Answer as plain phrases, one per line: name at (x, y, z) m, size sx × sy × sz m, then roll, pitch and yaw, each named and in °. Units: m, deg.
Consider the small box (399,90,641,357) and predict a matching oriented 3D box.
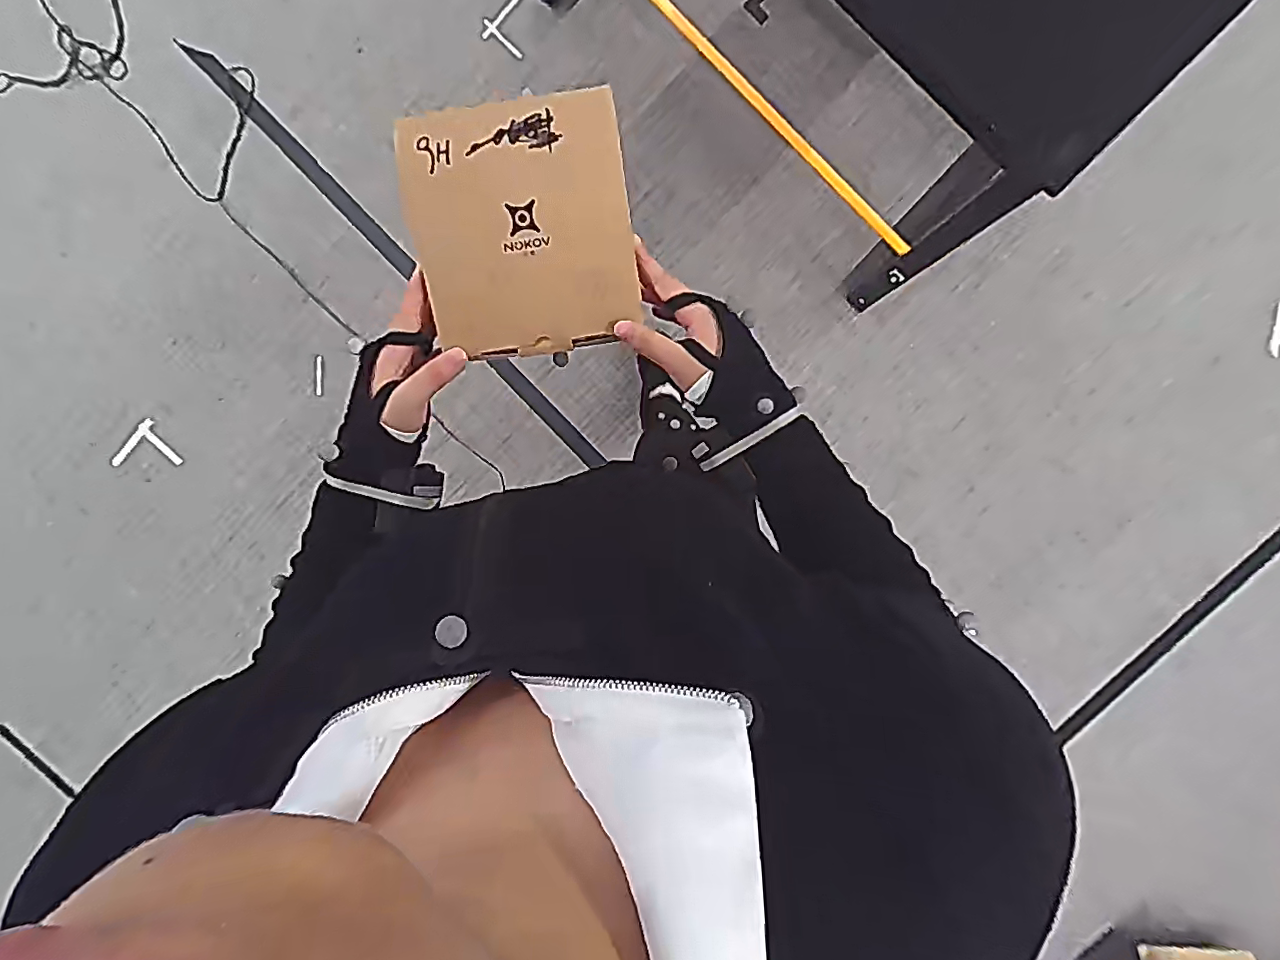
small box at (-0.089, -0.216, 0.499) m, size 0.168 × 0.176 × 0.179 m, roll -8°, pitch 104°, yaw 1°
